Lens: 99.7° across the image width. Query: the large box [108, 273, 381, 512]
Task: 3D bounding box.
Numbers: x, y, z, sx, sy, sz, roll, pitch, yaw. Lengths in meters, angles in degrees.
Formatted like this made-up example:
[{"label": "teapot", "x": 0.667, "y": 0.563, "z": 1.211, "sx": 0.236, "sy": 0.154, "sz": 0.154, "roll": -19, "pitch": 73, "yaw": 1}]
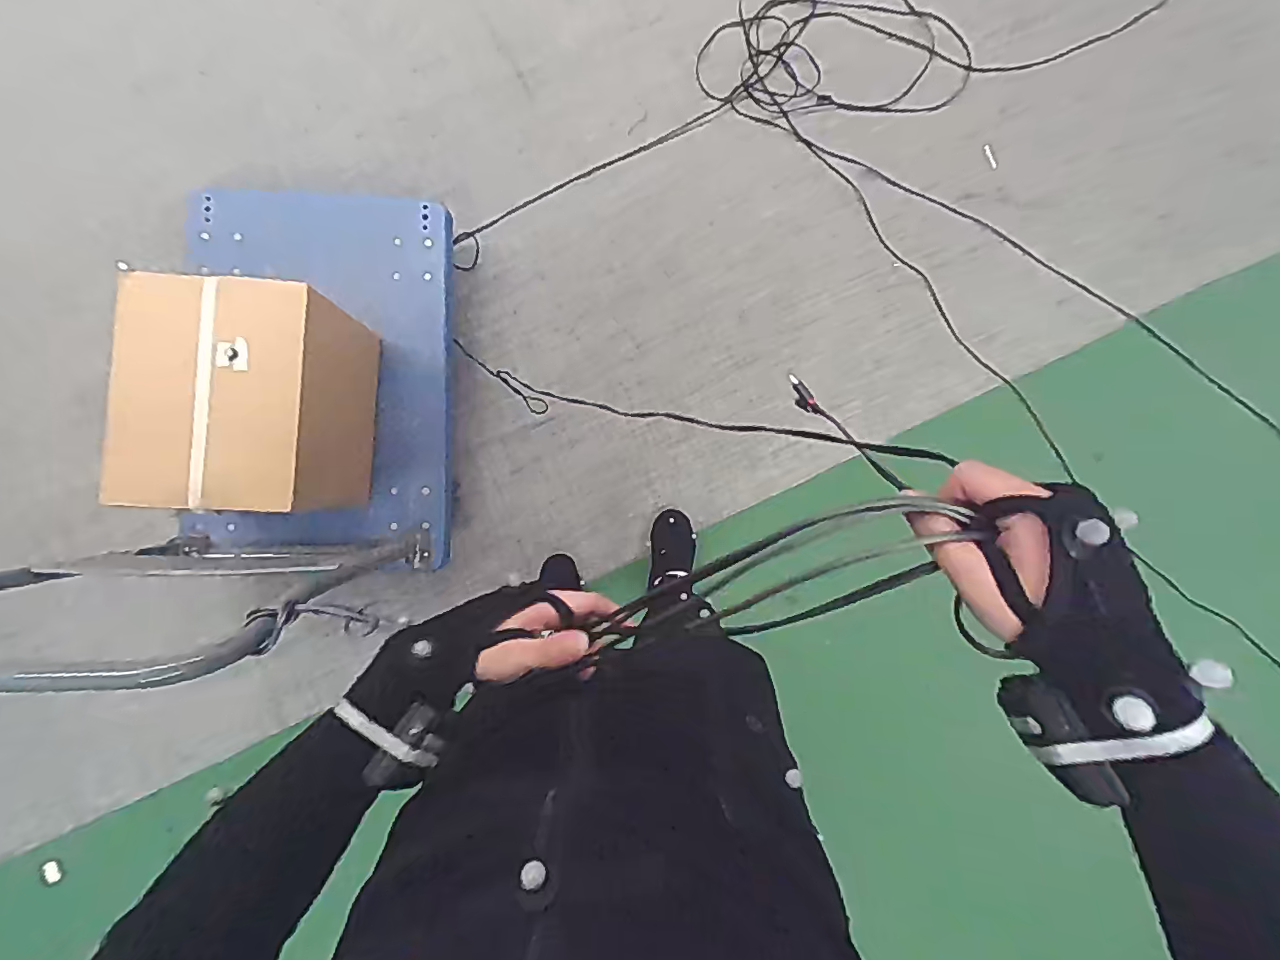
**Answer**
[{"label": "large box", "x": -0.735, "y": -0.139, "z": 1.064, "sx": 0.320, "sy": 0.320, "sz": 0.408, "roll": 3, "pitch": 87, "yaw": -4}]
